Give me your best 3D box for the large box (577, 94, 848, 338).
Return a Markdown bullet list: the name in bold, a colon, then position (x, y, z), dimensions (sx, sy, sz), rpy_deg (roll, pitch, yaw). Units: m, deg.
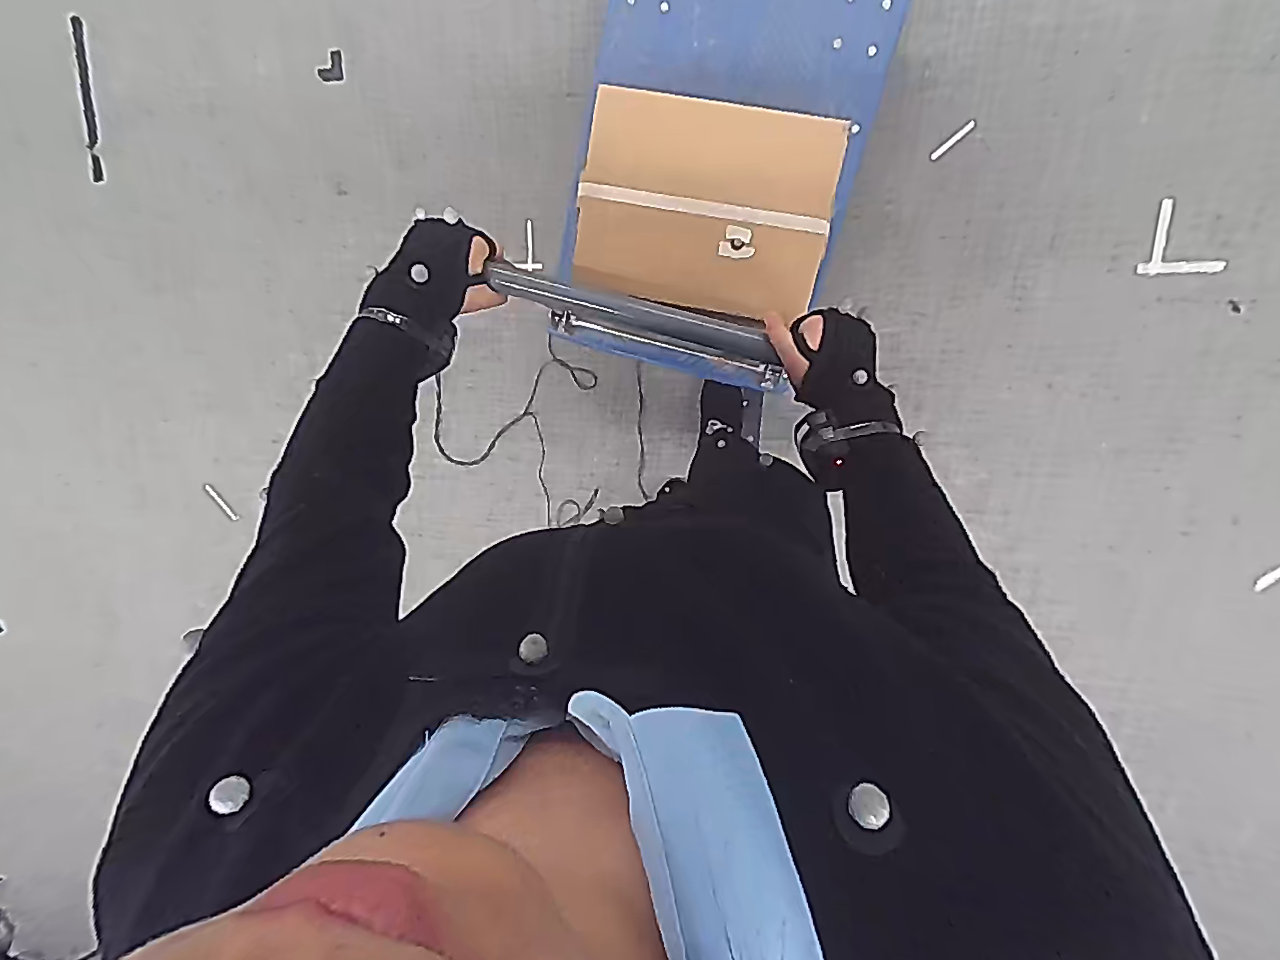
- **large box**: position (0.121, -0.468, 1.035), dimensions (0.408, 0.320, 0.320), rpy_deg (11, 103, 3)
